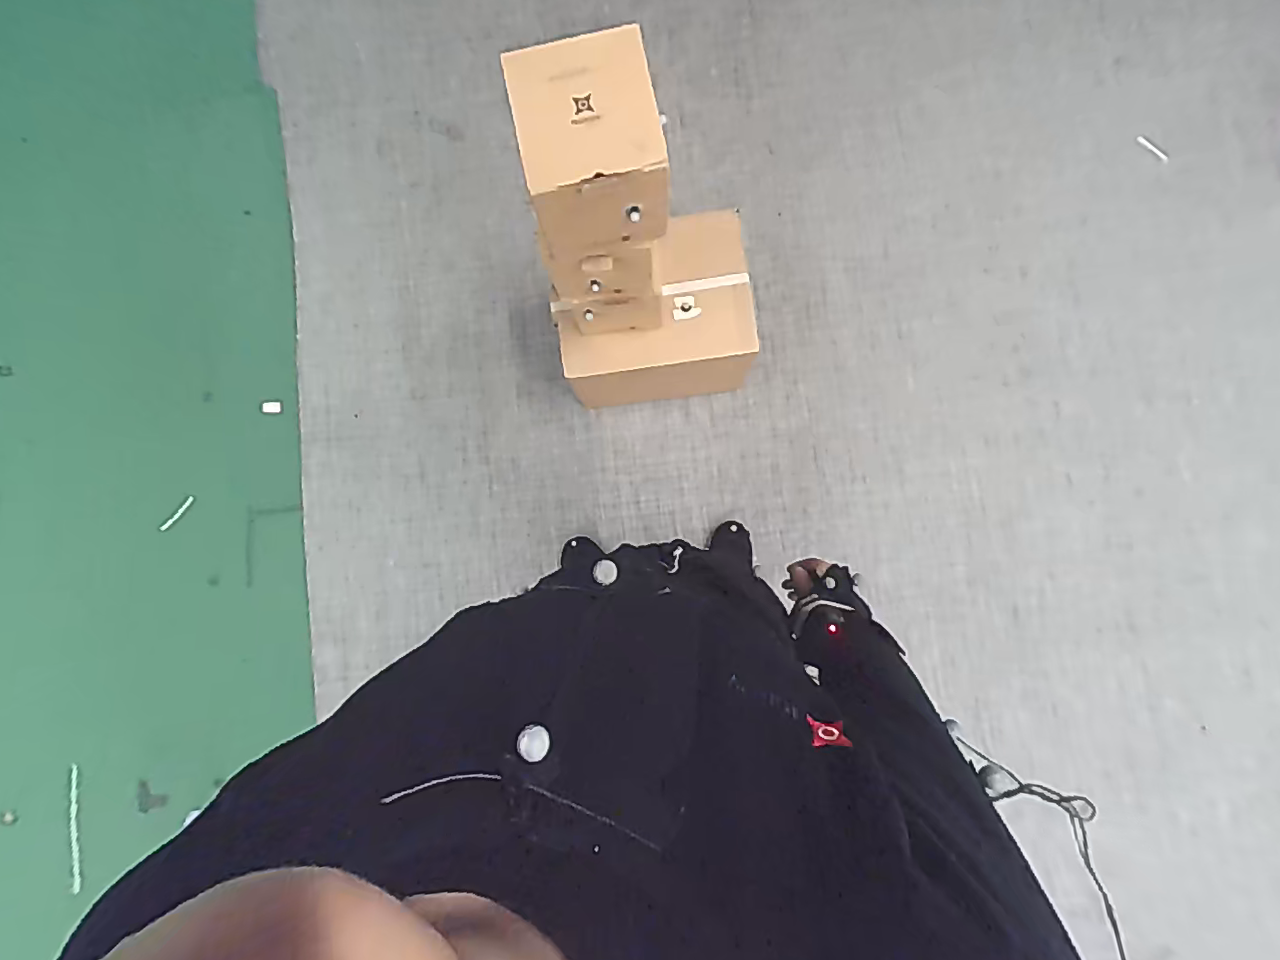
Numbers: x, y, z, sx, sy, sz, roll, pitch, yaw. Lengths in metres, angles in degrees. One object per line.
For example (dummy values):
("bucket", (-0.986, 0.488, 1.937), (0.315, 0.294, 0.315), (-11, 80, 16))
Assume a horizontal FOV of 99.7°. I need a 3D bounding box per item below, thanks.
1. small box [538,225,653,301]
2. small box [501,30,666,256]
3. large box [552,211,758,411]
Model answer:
("small box", (-0.065, -0.403, 0.857), (0.168, 0.176, 0.179), (-2, 86, 2))
("small box", (-0.063, -0.411, 0.694), (0.168, 0.176, 0.179), (-12, 85, 0))
("large box", (0.027, -0.367, 1.259), (0.408, 0.320, 0.320), (-8, 86, 1))
